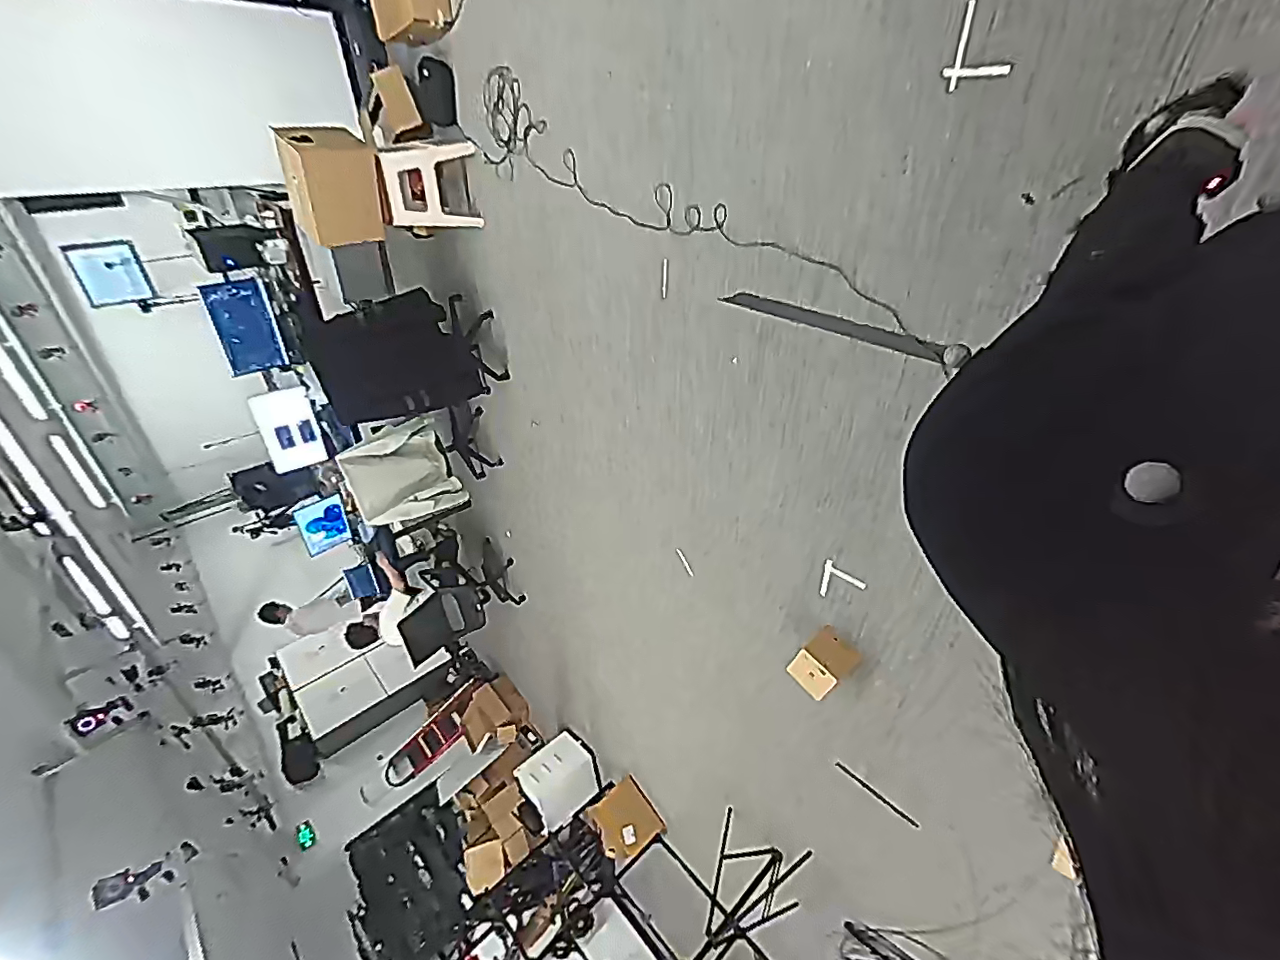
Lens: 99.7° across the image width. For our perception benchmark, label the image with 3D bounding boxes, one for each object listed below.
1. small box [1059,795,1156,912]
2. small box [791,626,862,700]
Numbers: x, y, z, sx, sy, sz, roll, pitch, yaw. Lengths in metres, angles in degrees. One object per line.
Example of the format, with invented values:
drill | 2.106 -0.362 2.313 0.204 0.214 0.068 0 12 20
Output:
small box | 1.318 1.041 1.524 0.168 0.176 0.179 19 127 45
small box | 0.718 0.701 2.078 0.168 0.176 0.179 43 141 27
